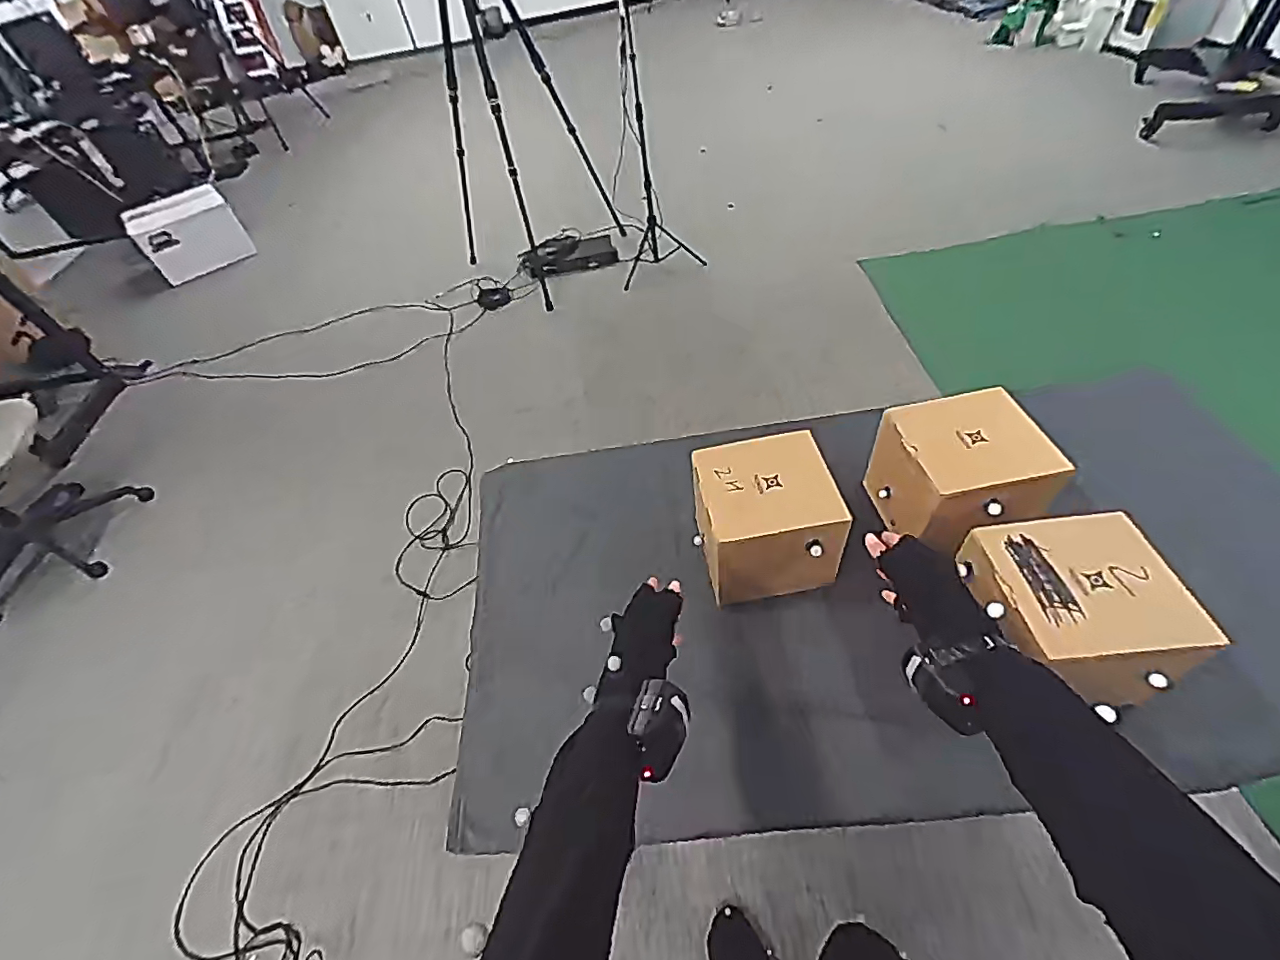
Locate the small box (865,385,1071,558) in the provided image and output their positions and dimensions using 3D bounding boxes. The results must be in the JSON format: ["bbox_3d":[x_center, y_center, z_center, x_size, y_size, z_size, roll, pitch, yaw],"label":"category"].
[{"bbox_3d":[0.454,-0.008,0.785,0.179,0.176,0.168,-12,50,1],"label":"small box"}]
